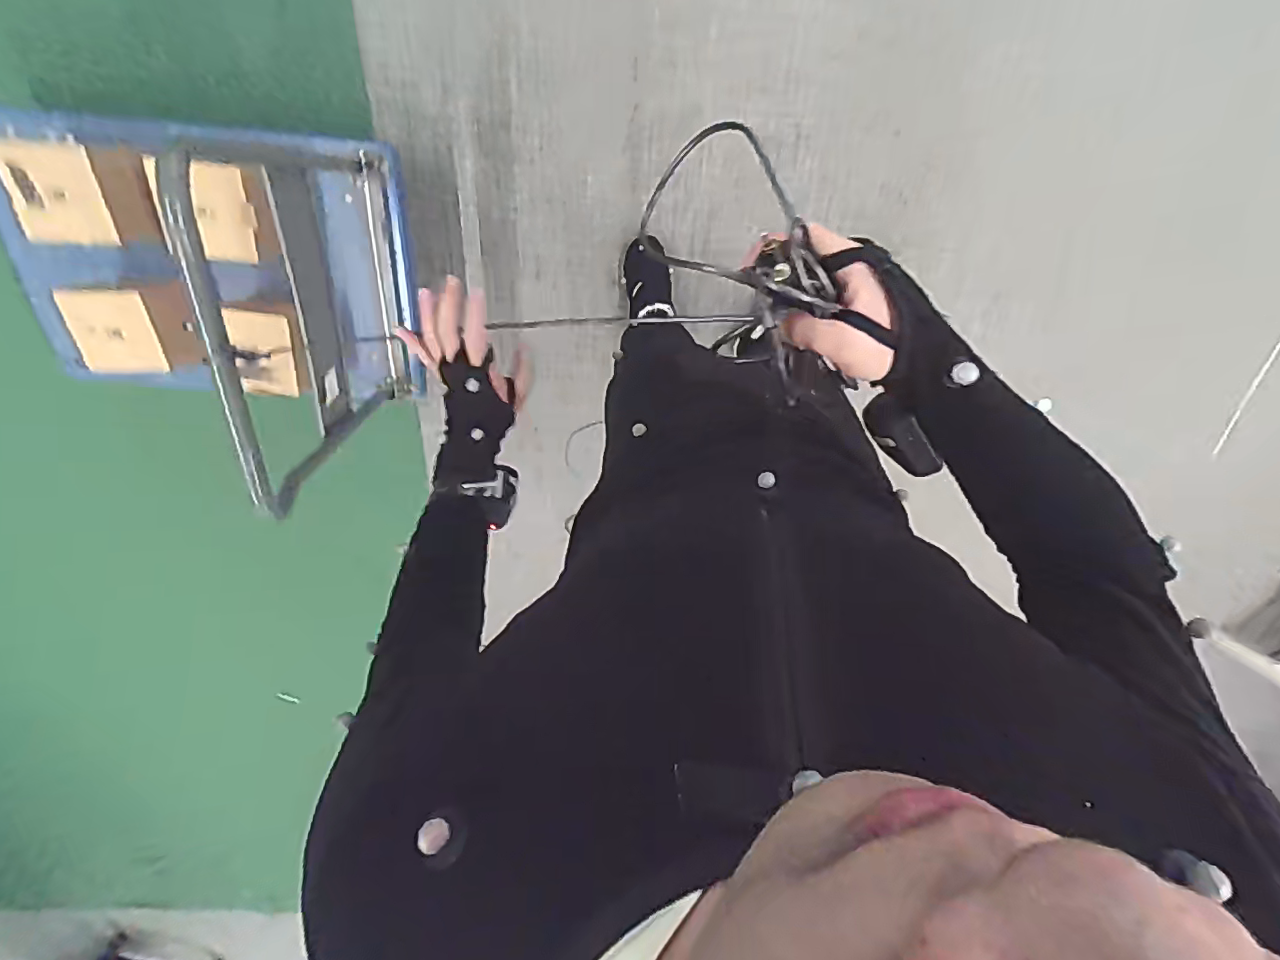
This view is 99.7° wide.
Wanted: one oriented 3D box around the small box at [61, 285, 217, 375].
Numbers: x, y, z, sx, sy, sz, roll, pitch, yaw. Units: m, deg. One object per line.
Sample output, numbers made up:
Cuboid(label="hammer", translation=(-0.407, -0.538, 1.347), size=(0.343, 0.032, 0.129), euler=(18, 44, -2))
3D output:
Cuboid(label="small box", translation=(-1.098, -0.339, 1.210), size=(0.179, 0.176, 0.168), euler=(0, 118, -1))

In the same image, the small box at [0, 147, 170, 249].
Cuboid(label="small box", translation=(-1.089, -0.564, 1.088), size=(0.179, 0.176, 0.168), euler=(1, 119, -3))

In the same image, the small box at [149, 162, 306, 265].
Cuboid(label="small box", translation=(-0.829, -0.544, 1.107), size=(0.179, 0.176, 0.168), euler=(4, 118, -4))
